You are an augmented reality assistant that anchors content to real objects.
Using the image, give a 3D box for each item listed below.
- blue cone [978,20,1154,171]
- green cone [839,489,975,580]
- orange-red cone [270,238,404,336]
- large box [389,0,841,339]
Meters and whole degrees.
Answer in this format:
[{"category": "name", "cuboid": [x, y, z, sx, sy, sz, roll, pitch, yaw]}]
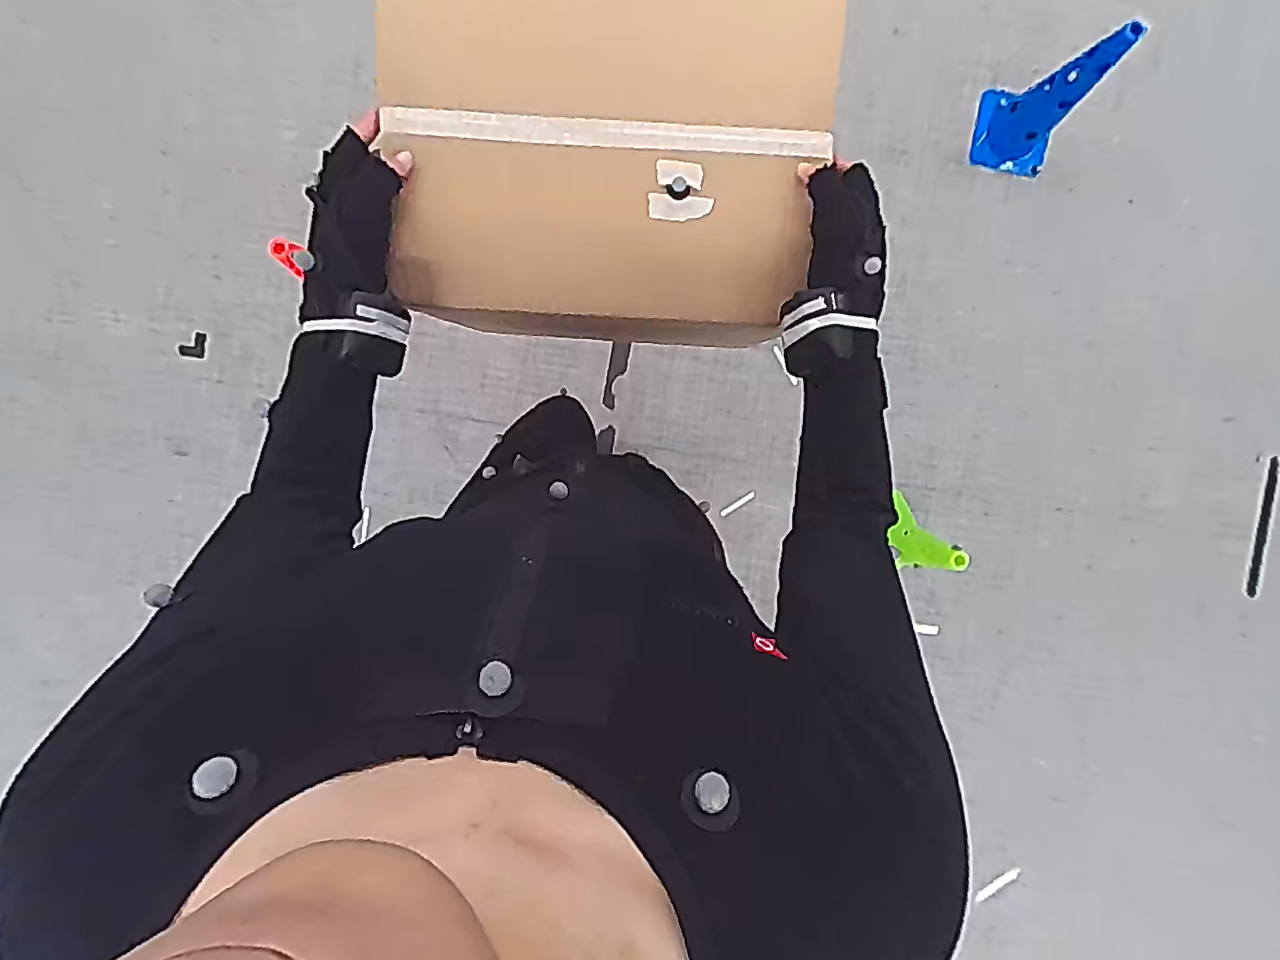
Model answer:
[{"category": "blue cone", "cuboid": [1.007, -0.923, 1.277, 0.192, 0.380, 0.193, 12, 93, -2]}, {"category": "green cone", "cuboid": [0.673, 0.158, 1.308, 0.202, 0.368, 0.200, -28, 93, -1]}, {"category": "orange-red cone", "cuboid": [-0.726, -0.478, 1.264, 0.198, 0.360, 0.199, 7, 94, 0]}, {"category": "large box", "cuboid": [-0.030, -0.343, 0.638, 0.408, 0.320, 0.320, 3, 101, -2]}]
